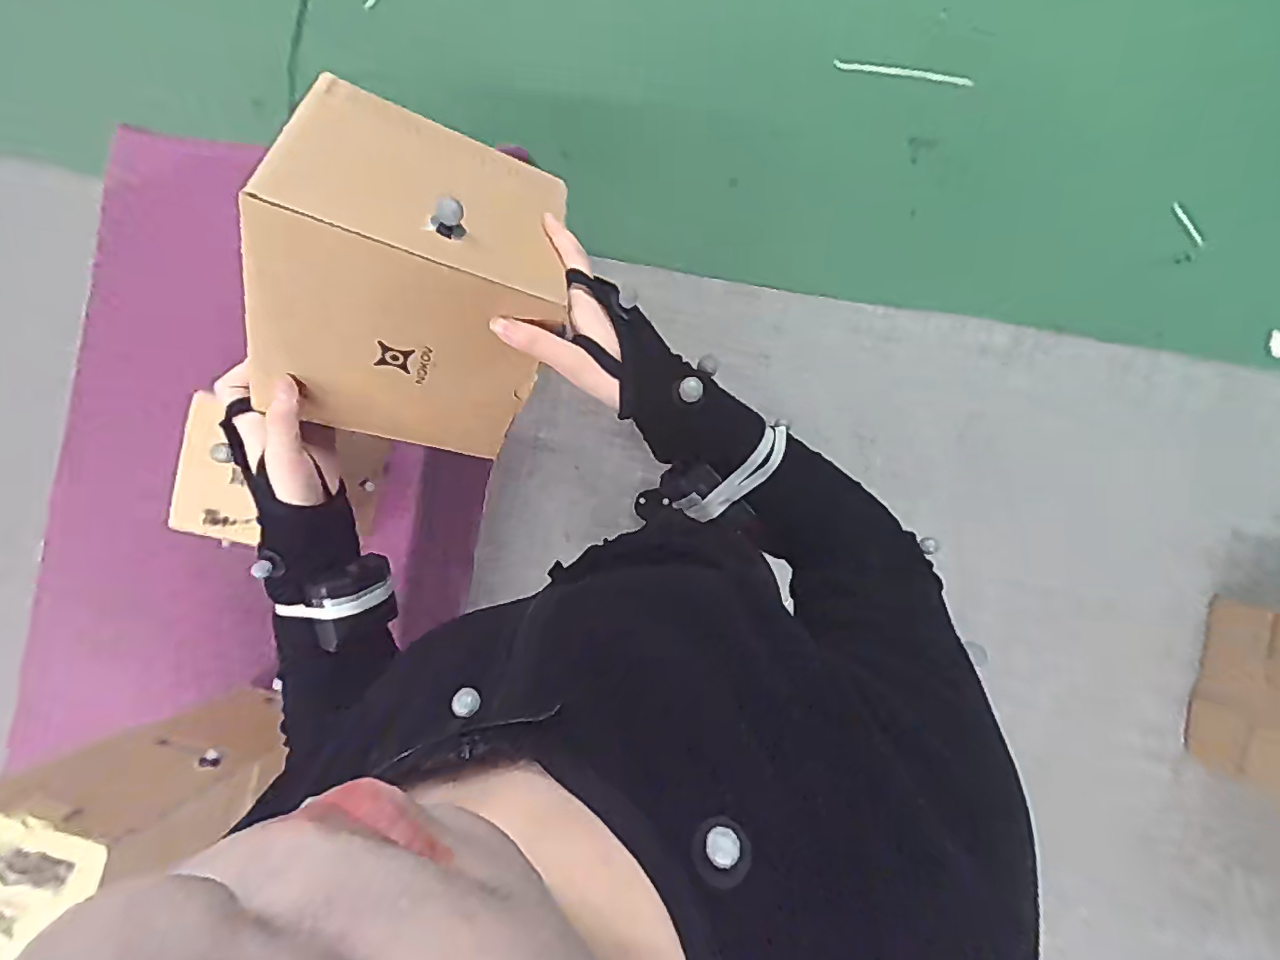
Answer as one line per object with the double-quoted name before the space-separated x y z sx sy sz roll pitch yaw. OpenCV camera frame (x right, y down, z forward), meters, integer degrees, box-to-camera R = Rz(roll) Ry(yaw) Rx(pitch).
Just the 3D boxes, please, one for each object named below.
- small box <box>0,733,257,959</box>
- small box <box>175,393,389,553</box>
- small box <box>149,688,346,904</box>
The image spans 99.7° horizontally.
"small box" -0.552 0.398 0.572 0.168 0.176 0.179 11 89 5
"small box" -0.476 -0.006 0.747 0.168 0.176 0.179 10 88 6
"small box" -0.536 0.411 0.735 0.168 0.176 0.179 12 88 5
